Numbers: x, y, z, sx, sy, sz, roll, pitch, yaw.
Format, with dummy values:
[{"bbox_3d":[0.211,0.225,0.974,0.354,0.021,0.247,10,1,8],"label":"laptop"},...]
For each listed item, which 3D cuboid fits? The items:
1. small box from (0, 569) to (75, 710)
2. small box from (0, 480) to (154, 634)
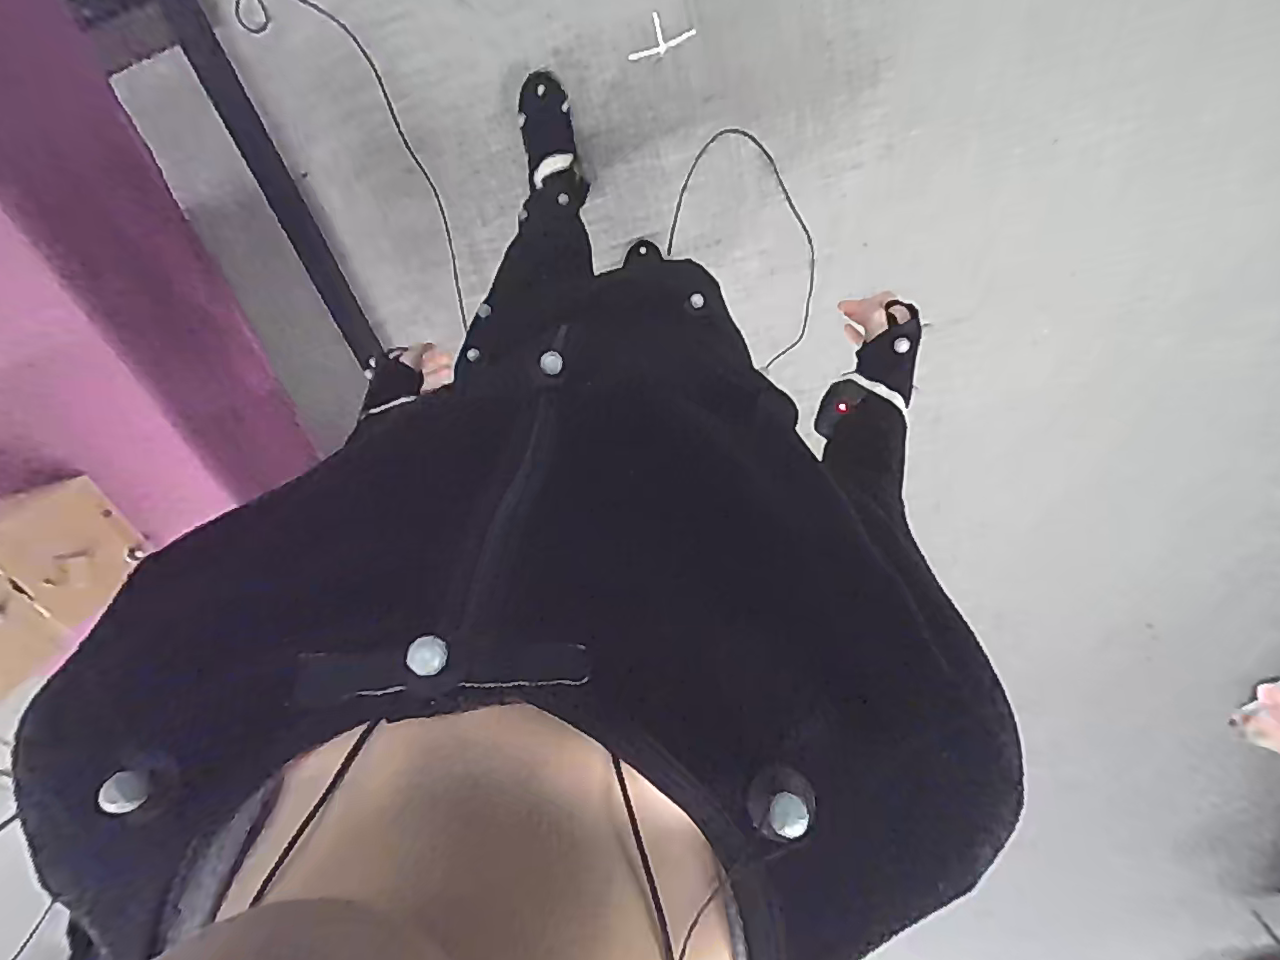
[{"bbox_3d":[-0.872,0.210,0.647,0.168,0.176,0.179,-12,118,9],"label":"small box"},{"bbox_3d":[-0.873,0.119,0.785,0.179,0.176,0.168,-13,118,10],"label":"small box"}]
